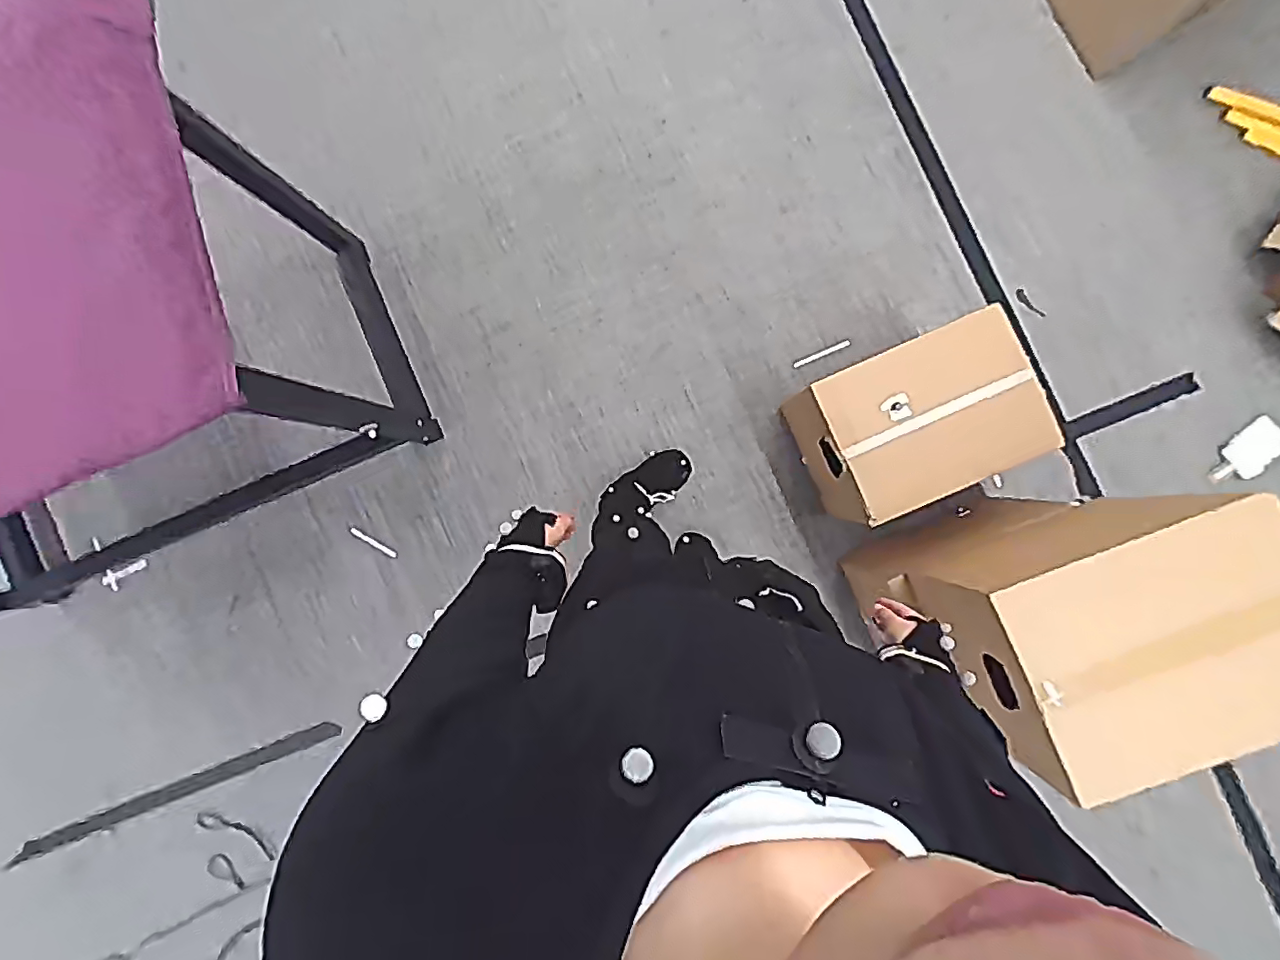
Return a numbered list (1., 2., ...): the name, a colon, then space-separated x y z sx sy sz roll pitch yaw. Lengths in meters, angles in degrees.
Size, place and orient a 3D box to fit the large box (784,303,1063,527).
1. large box: 0.592 -0.129 1.209 0.408 0.320 0.320 -24 88 3
